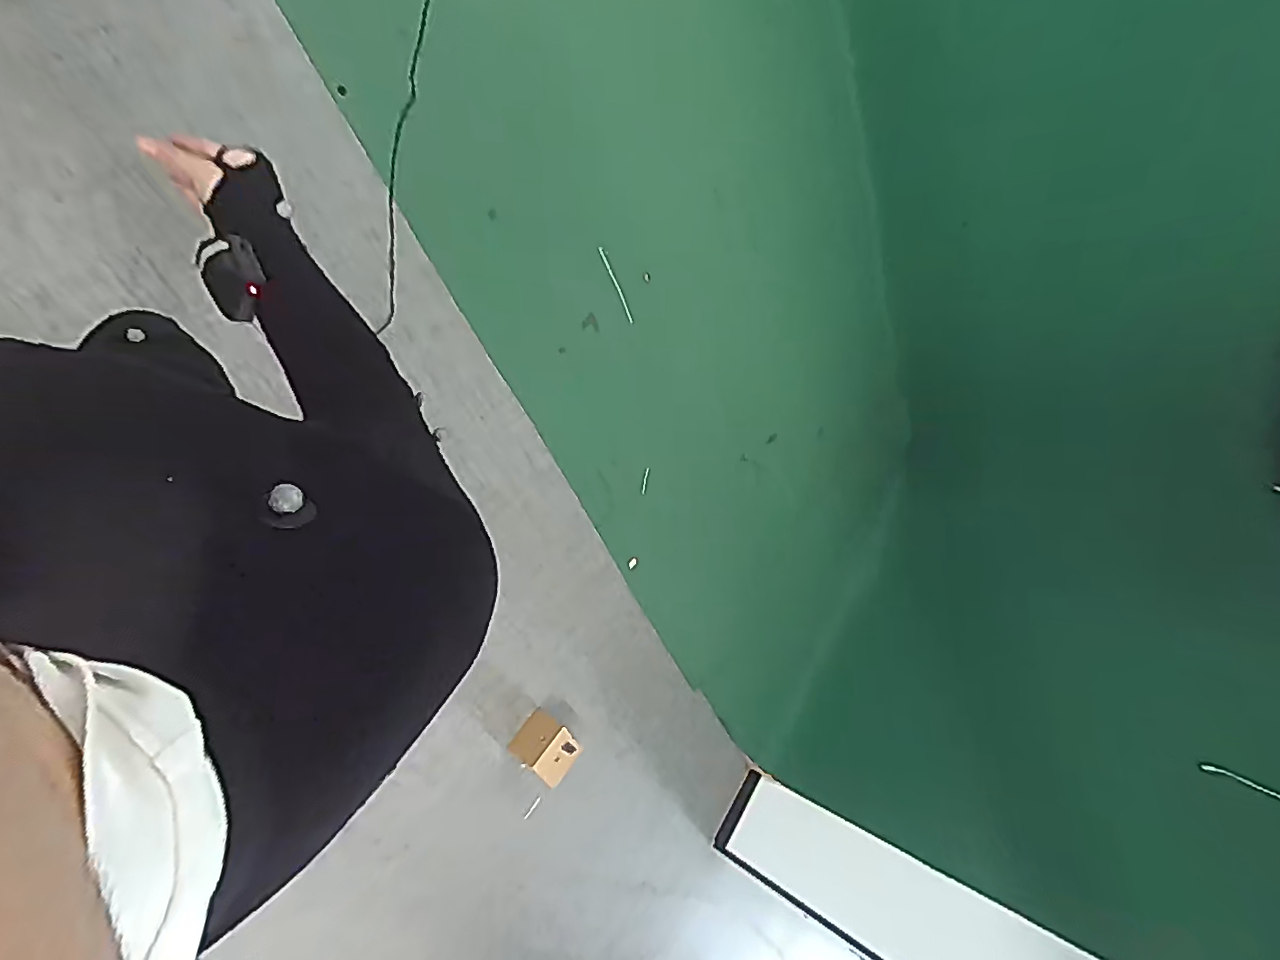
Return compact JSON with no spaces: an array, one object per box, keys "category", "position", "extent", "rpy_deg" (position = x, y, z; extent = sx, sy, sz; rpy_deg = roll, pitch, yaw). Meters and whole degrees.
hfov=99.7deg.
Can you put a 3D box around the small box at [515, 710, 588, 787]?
[{"category":"small box","position":[-0.339,1.011,2.051],"extent":[0.179,0.176,0.168],"rpy_deg":[-48,126,-28]}]
